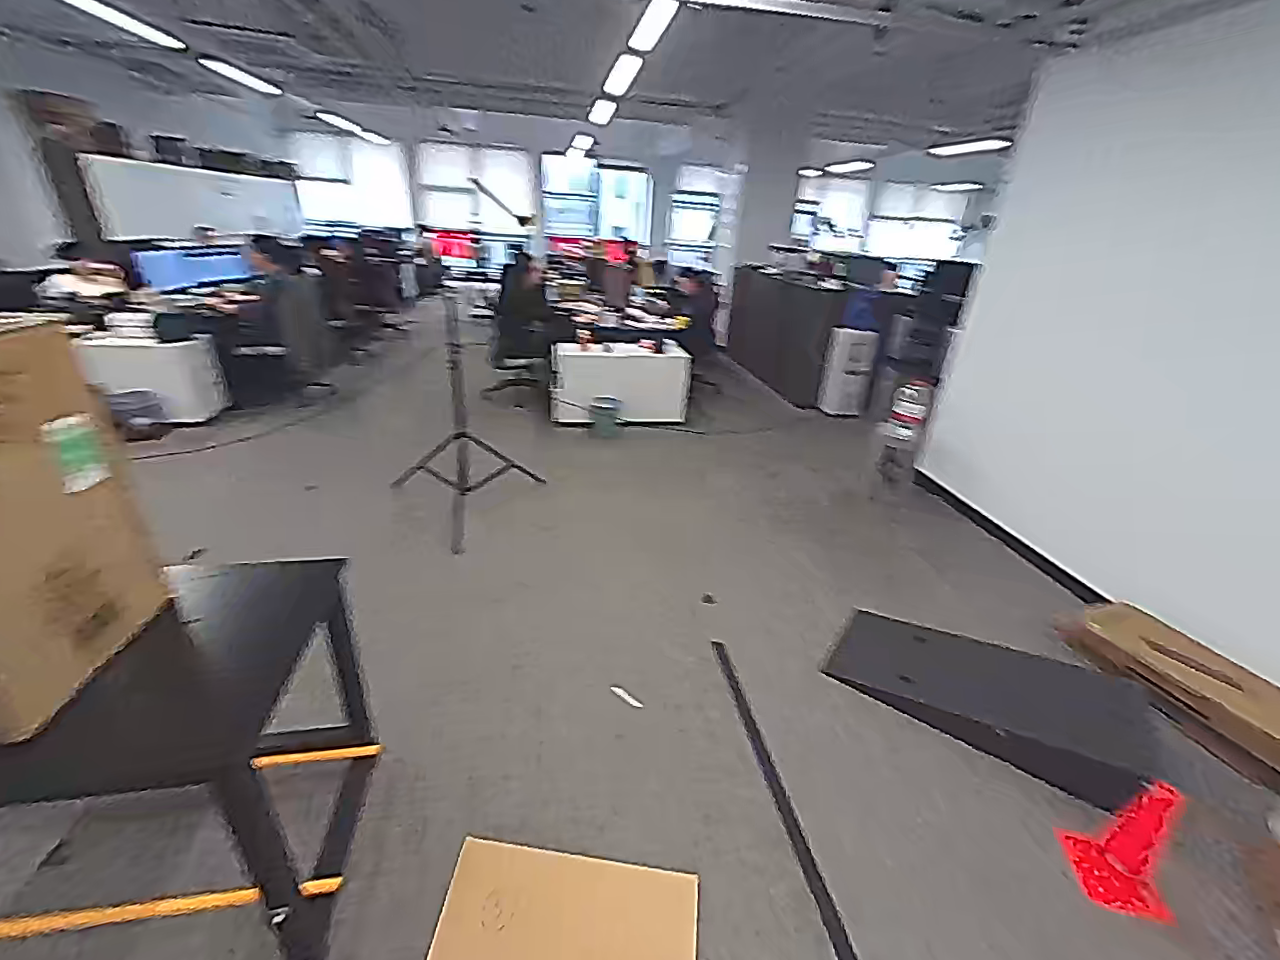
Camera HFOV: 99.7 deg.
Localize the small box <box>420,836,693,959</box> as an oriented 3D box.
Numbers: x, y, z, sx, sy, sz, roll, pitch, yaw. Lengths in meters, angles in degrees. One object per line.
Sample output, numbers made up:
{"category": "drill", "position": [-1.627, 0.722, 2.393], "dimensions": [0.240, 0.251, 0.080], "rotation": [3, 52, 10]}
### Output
{"category": "small box", "position": [-0.061, 0.370, 0.355], "dimensions": [0.168, 0.176, 0.179], "rotation": [7, 41, 2]}
